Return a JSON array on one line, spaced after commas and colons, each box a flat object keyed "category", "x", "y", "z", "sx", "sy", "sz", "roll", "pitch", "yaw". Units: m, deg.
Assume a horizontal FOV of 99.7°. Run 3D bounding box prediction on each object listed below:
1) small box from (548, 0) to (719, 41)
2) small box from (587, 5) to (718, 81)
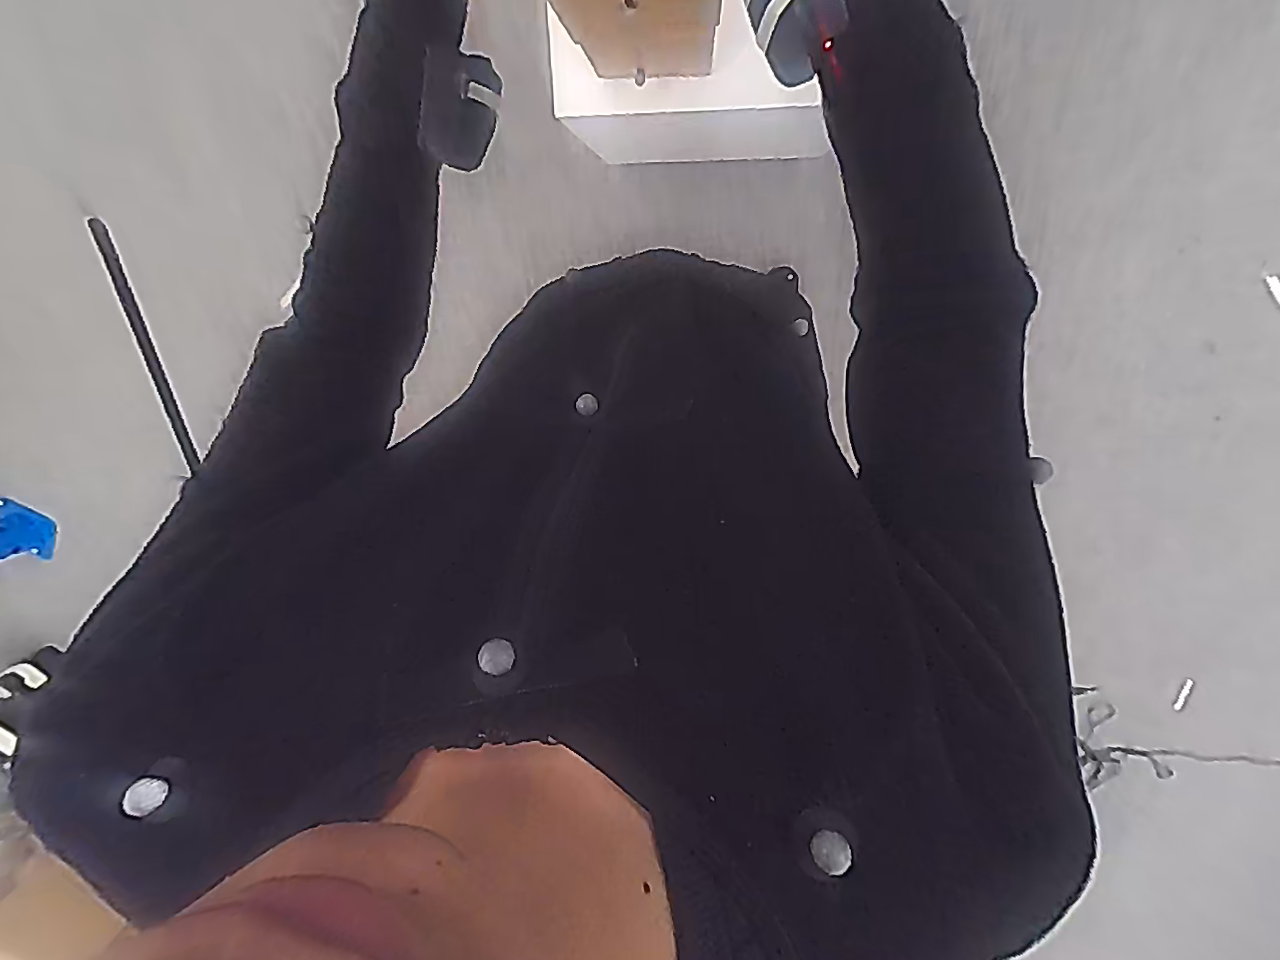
[{"category": "small box", "x": -0.006, "y": -0.562, "z": 0.525, "sx": 0.179, "sy": 0.176, "sz": 0.168, "roll": -1, "pitch": 112, "yaw": 8}, {"category": "small box", "x": 0.014, "y": -0.627, "z": 0.673, "sx": 0.168, "sy": 0.176, "sz": 0.179, "roll": 2, "pitch": 114, "yaw": 5}]
